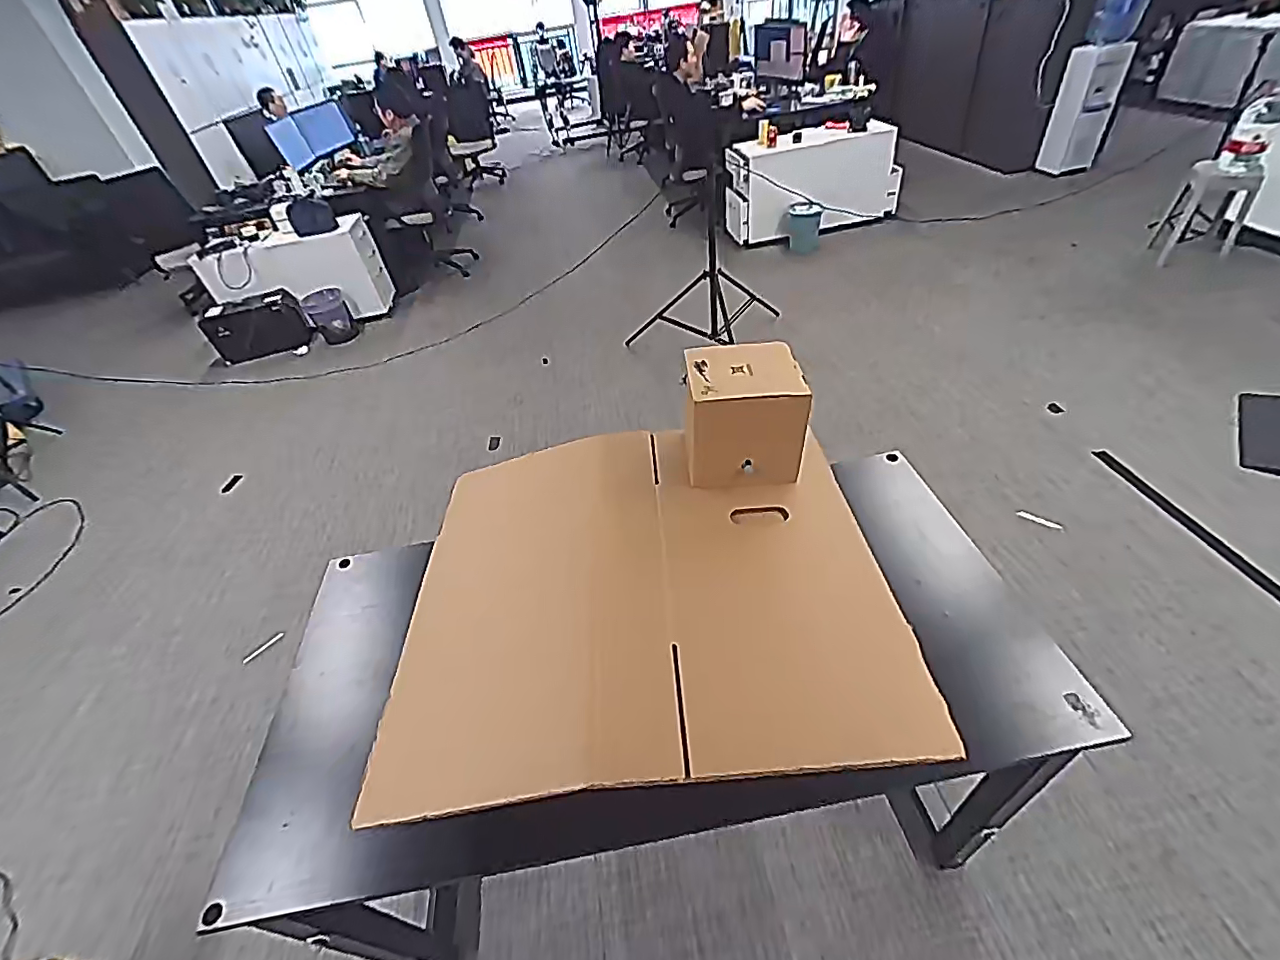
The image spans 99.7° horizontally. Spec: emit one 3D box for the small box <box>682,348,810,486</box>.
[{"bbox_3d":[0.163,-0.104,0.900,0.179,0.176,0.168,-3,40,0],"label":"small box"}]
